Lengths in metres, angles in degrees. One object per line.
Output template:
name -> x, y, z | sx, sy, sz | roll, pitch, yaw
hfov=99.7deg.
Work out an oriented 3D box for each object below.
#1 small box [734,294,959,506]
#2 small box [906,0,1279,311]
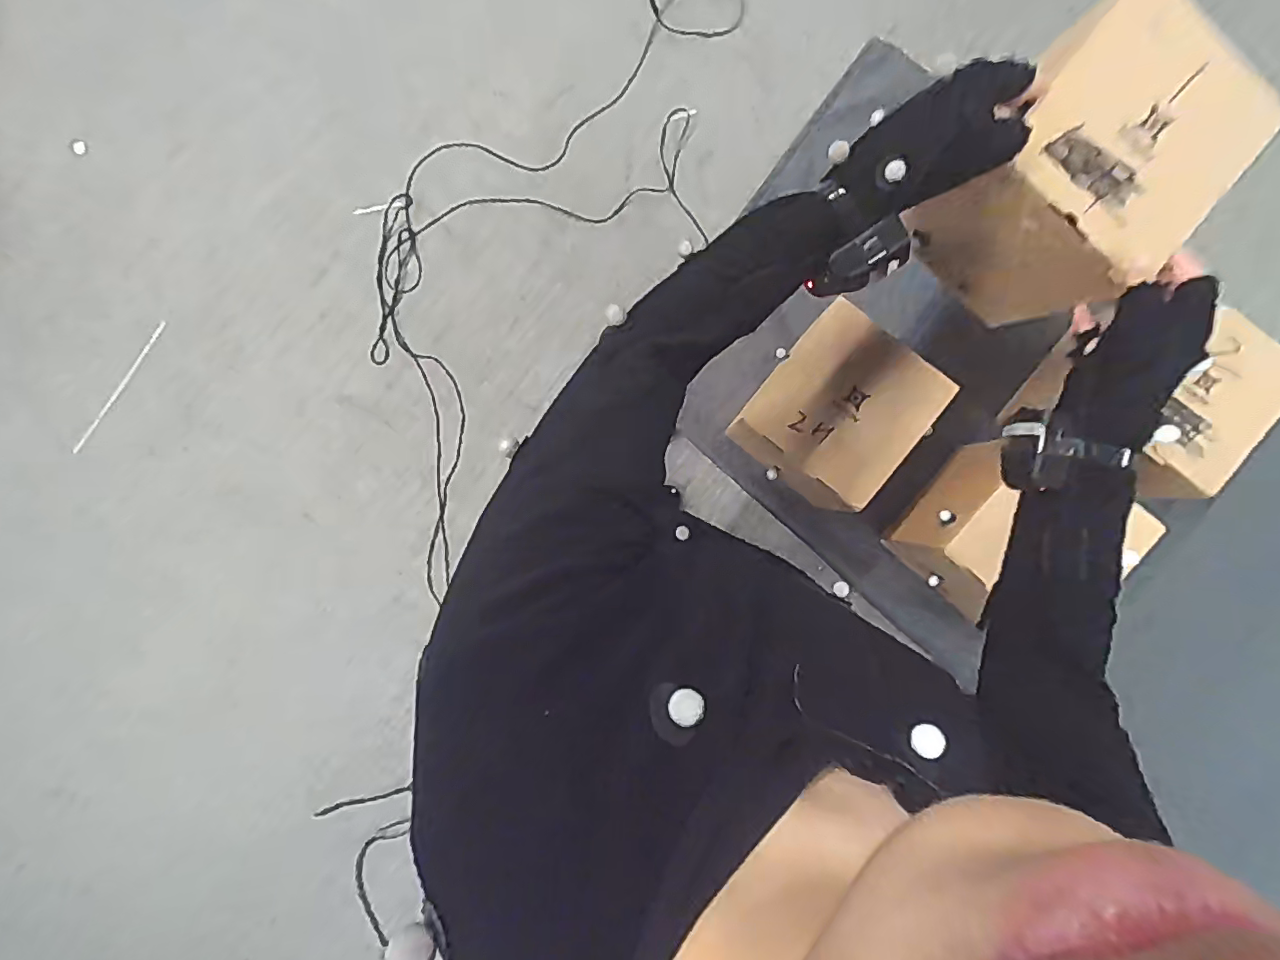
small box -> 0.234, -0.087, 0.668 | 0.168, 0.176, 0.179 | 39, 91, 3
small box -> 0.376, -0.279, 0.484 | 0.168, 0.176, 0.179 | 38, 93, -7
